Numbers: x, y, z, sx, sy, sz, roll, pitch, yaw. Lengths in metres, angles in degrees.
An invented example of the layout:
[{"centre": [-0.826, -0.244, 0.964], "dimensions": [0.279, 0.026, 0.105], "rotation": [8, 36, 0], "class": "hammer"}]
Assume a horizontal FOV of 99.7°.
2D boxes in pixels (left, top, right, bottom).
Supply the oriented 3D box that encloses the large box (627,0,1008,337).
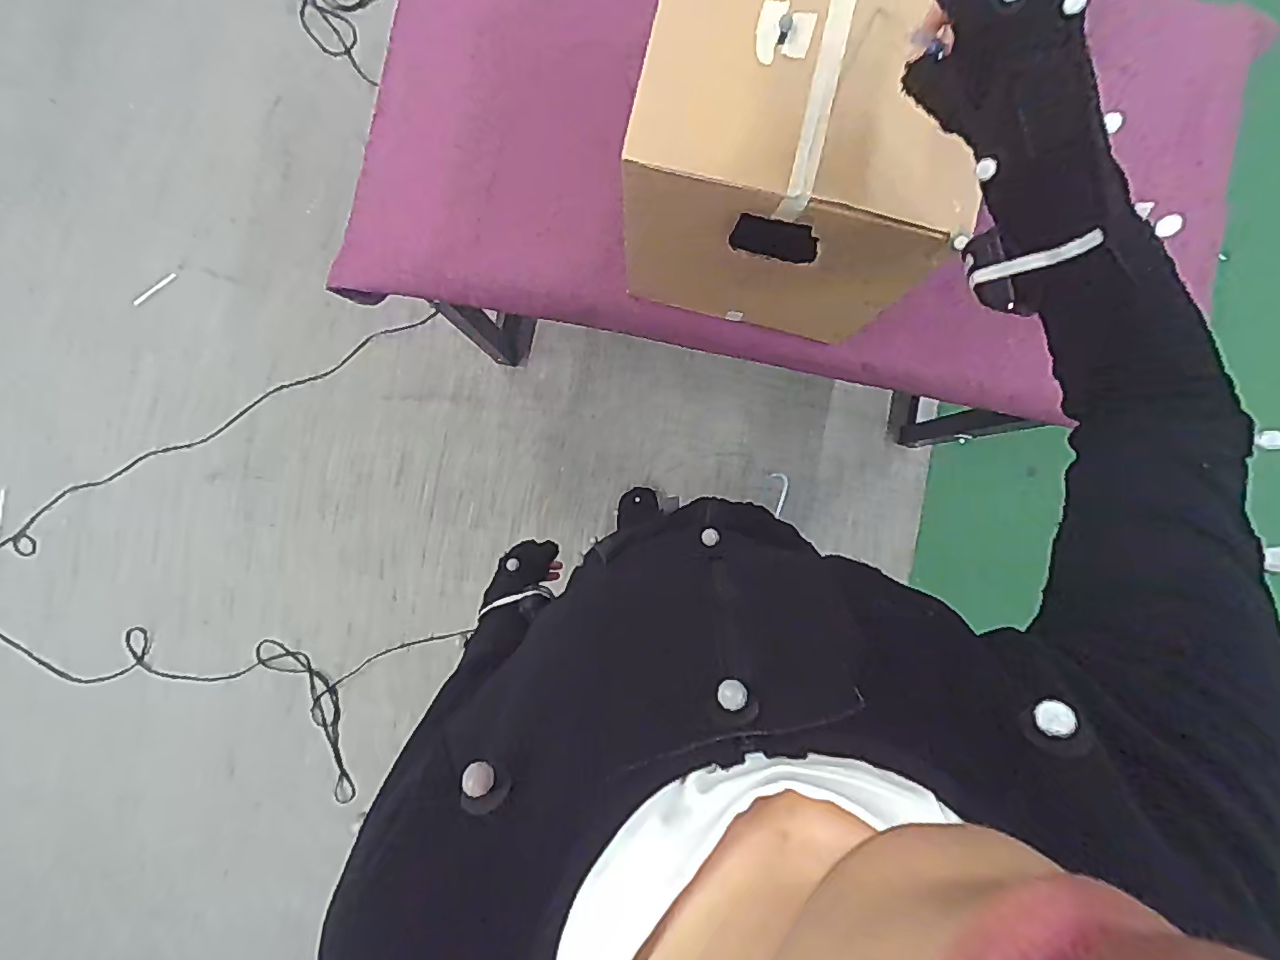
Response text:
[{"centre": [0.176, -0.434, 0.638], "dimensions": [0.320, 0.320, 0.408], "rotation": [14, 89, 0], "class": "large box"}]
